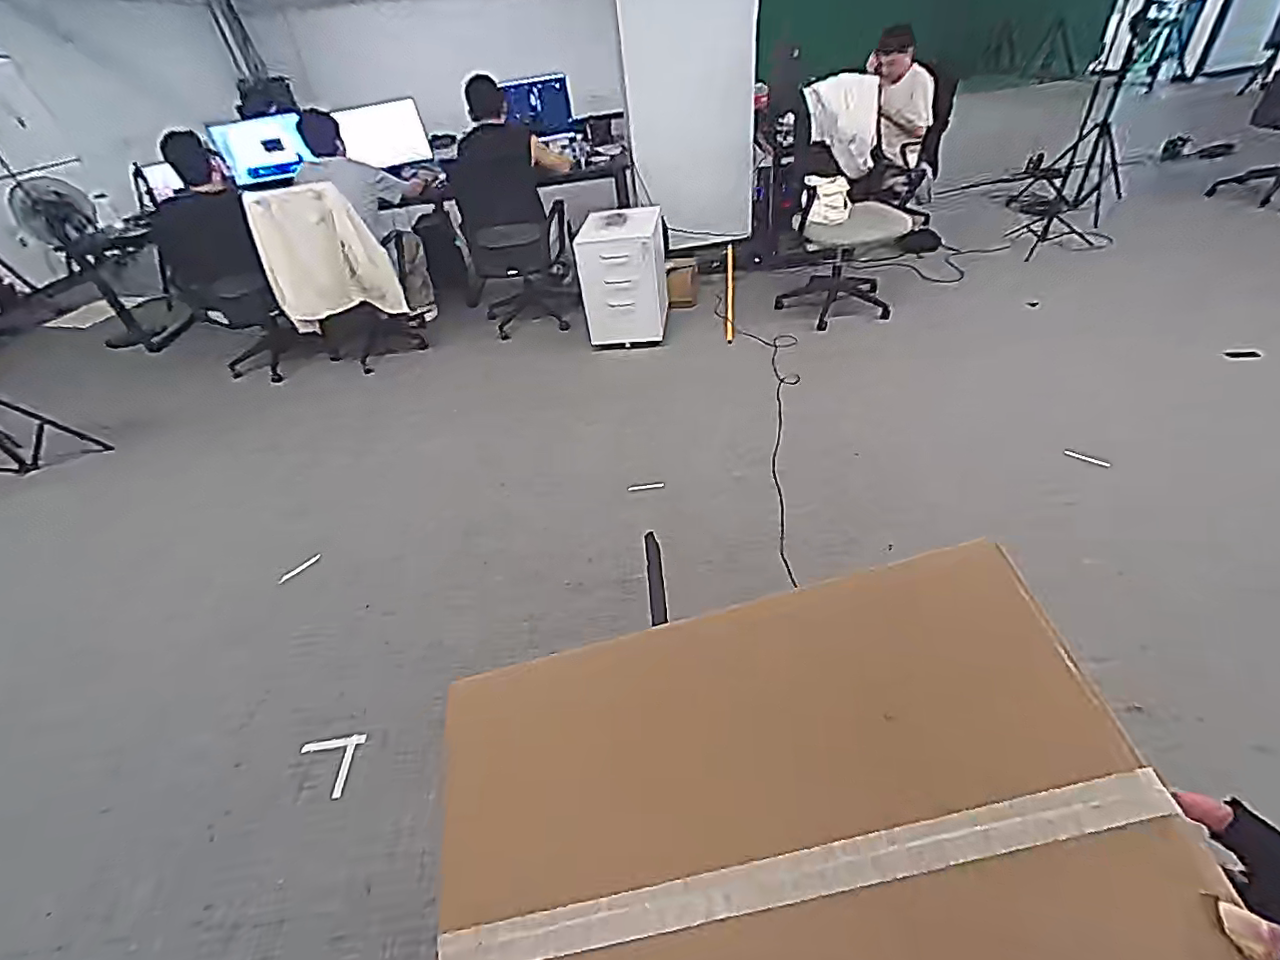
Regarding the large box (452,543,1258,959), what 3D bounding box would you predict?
[{"bbox_3d":[0.114,0.301,0.423,0.408,0.320,0.320,-17,53,5],"label":"large box"}]
